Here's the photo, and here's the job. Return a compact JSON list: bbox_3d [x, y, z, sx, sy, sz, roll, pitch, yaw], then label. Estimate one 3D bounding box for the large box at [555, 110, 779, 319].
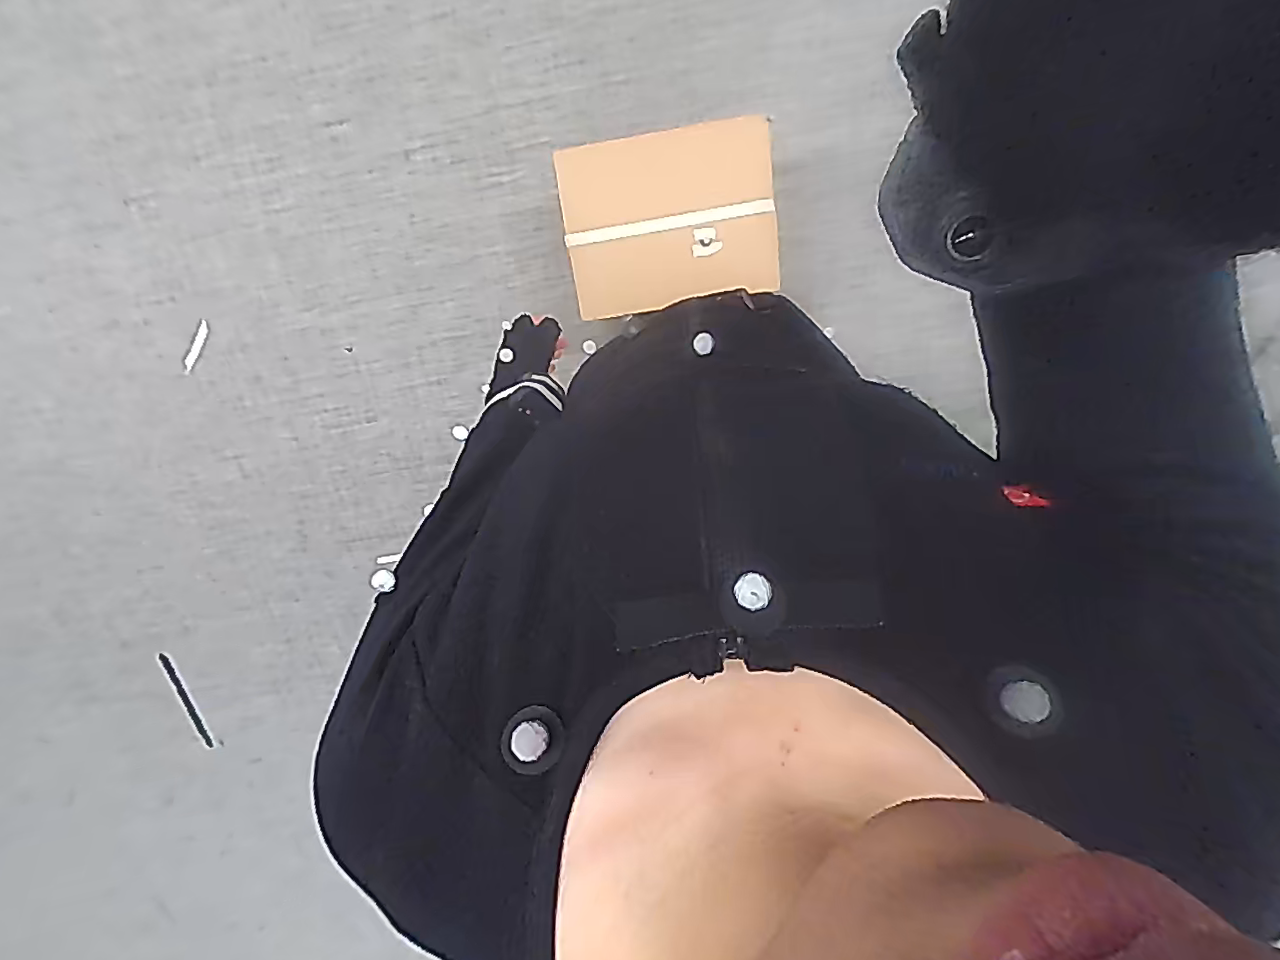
[{"bbox_3d":[0.062,-0.547,1.187,0.408,0.320,0.320,-8,108,5],"label":"large box"}]
